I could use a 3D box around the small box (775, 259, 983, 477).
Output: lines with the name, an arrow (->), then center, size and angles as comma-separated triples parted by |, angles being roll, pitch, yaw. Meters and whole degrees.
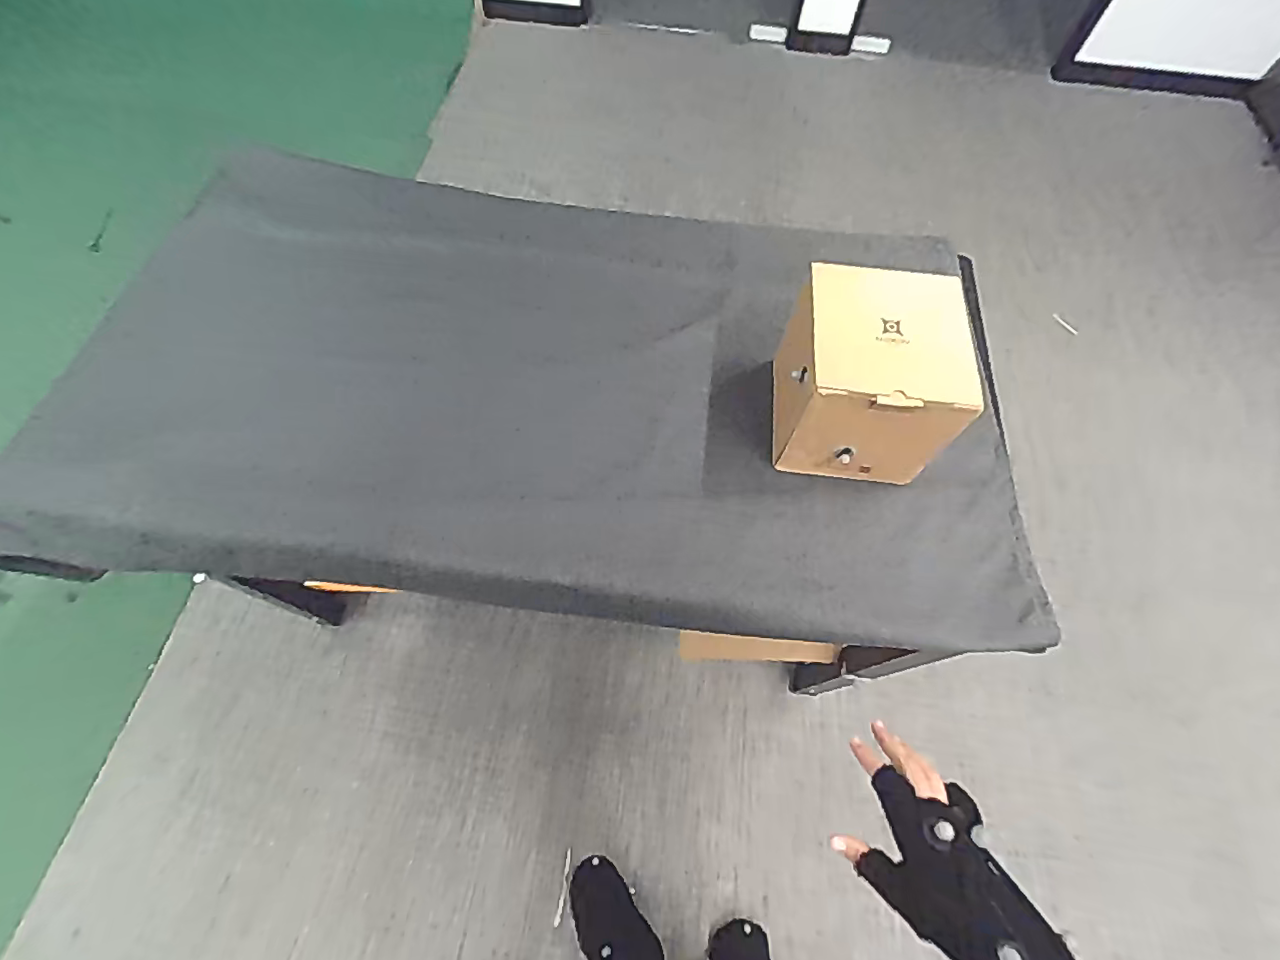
small box -> 0.260, -0.124, 0.635 | 0.168, 0.176, 0.179 | 6, 65, 2
